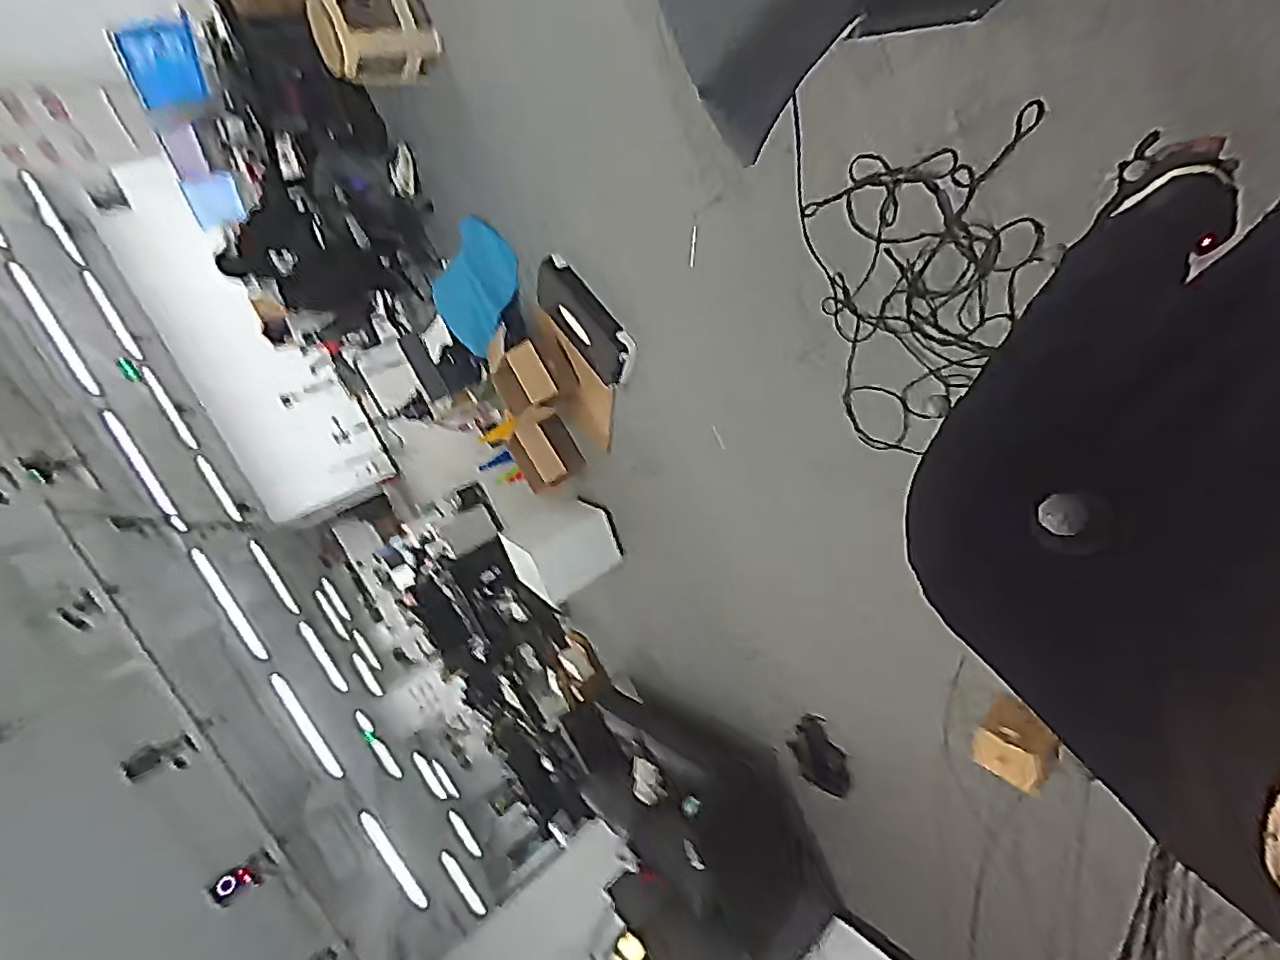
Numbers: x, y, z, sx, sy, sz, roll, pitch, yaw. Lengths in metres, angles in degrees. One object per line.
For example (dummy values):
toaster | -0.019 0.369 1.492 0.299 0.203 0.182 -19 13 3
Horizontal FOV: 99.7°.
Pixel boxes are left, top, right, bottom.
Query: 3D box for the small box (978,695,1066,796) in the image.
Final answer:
small box | 1.156 0.797 1.638 0.168 0.176 0.179 23 135 51
